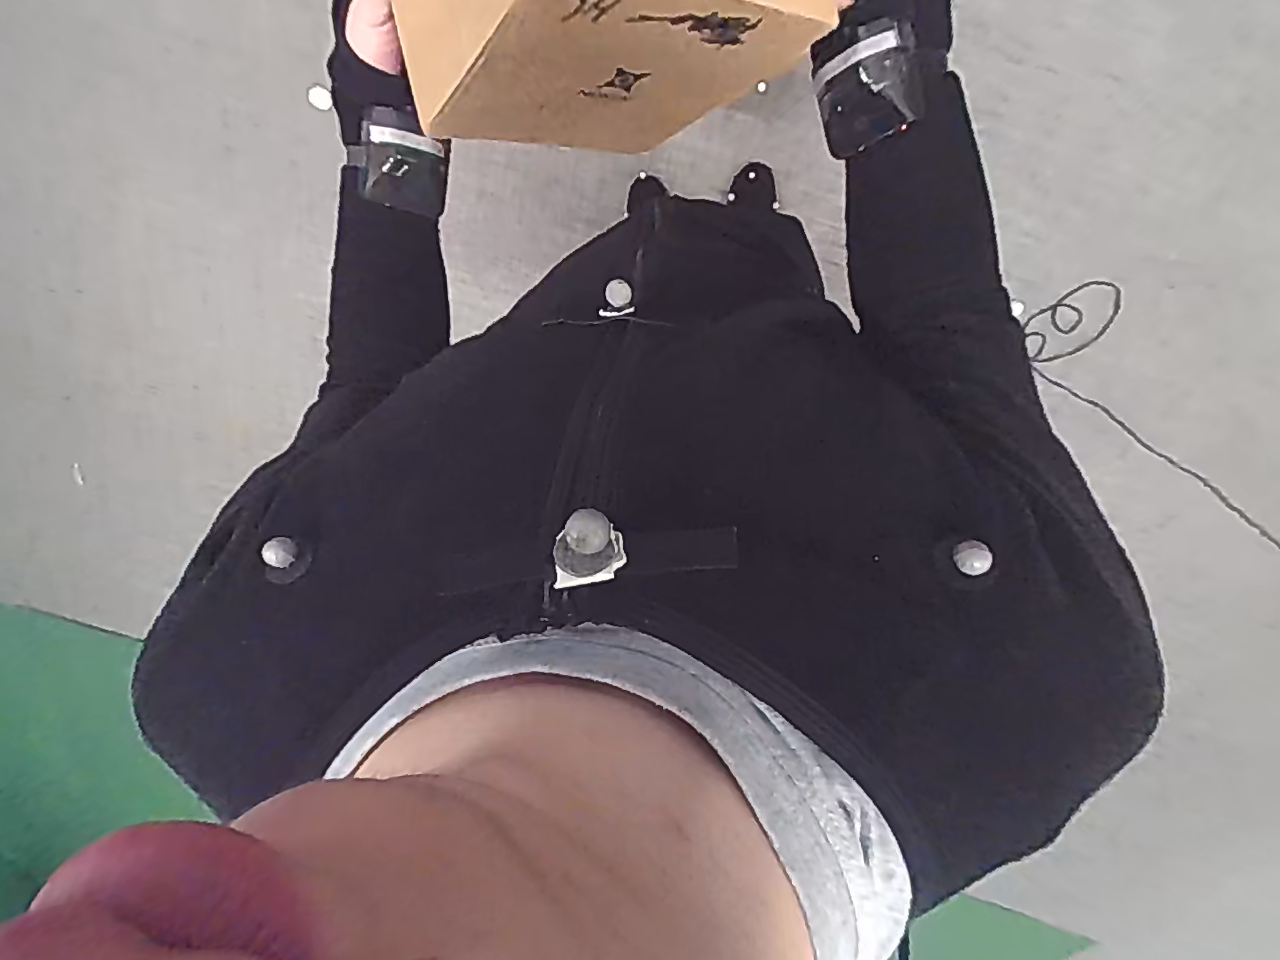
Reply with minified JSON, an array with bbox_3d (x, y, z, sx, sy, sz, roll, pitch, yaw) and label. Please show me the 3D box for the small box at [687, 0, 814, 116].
[{"bbox_3d":[0.196,-0.790,0.976,0.179,0.176,0.168,-17,115,18],"label":"small box"}]
